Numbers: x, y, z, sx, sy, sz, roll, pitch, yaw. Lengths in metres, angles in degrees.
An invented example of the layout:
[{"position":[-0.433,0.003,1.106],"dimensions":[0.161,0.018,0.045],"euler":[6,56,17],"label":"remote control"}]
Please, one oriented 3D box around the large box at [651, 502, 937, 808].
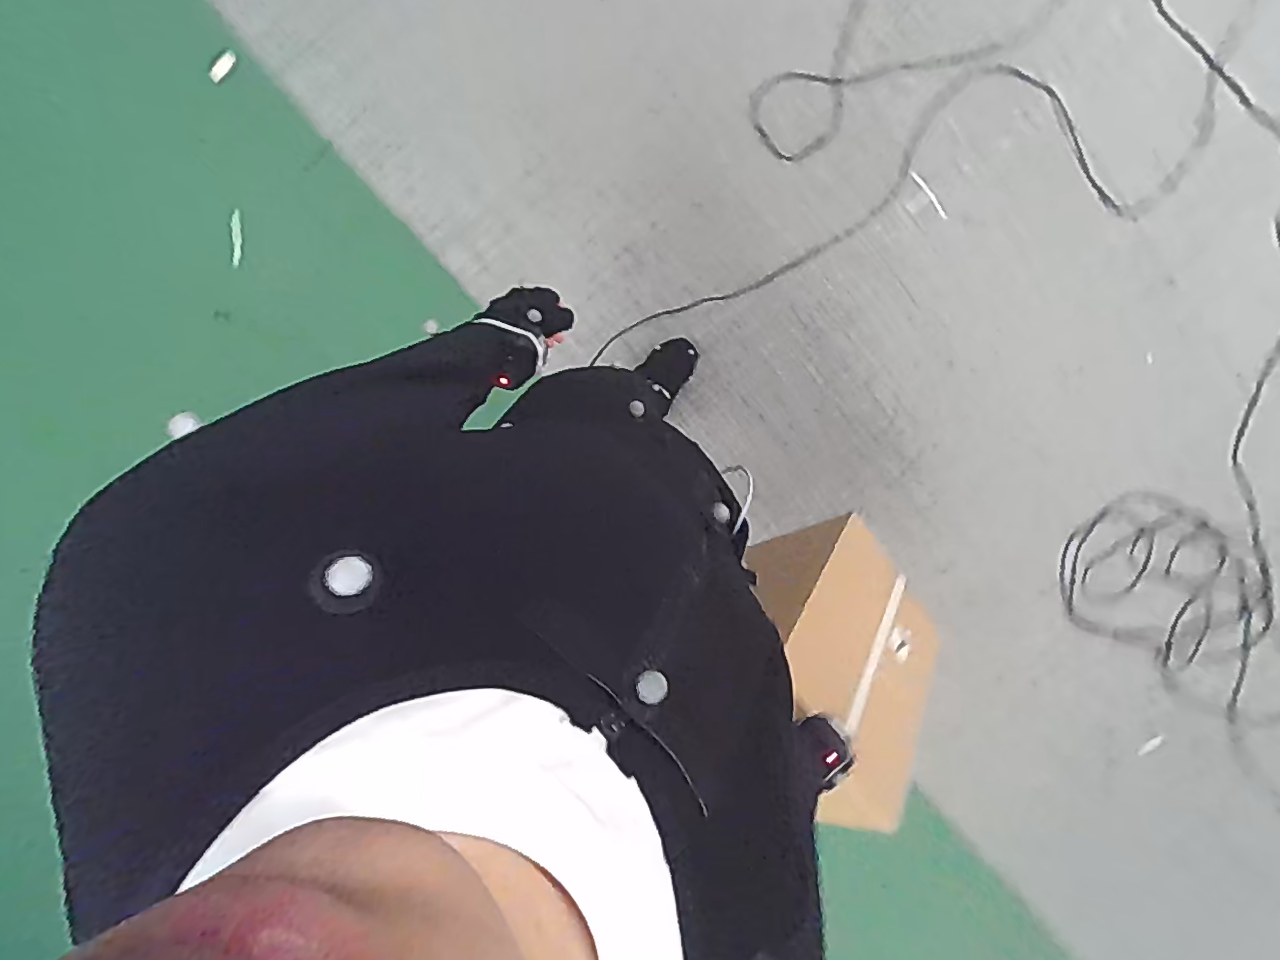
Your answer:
[{"position":[0.294,0.313,1.007],"dimensions":[0.320,0.408,0.320],"euler":[-29,101,47],"label":"large box"}]
